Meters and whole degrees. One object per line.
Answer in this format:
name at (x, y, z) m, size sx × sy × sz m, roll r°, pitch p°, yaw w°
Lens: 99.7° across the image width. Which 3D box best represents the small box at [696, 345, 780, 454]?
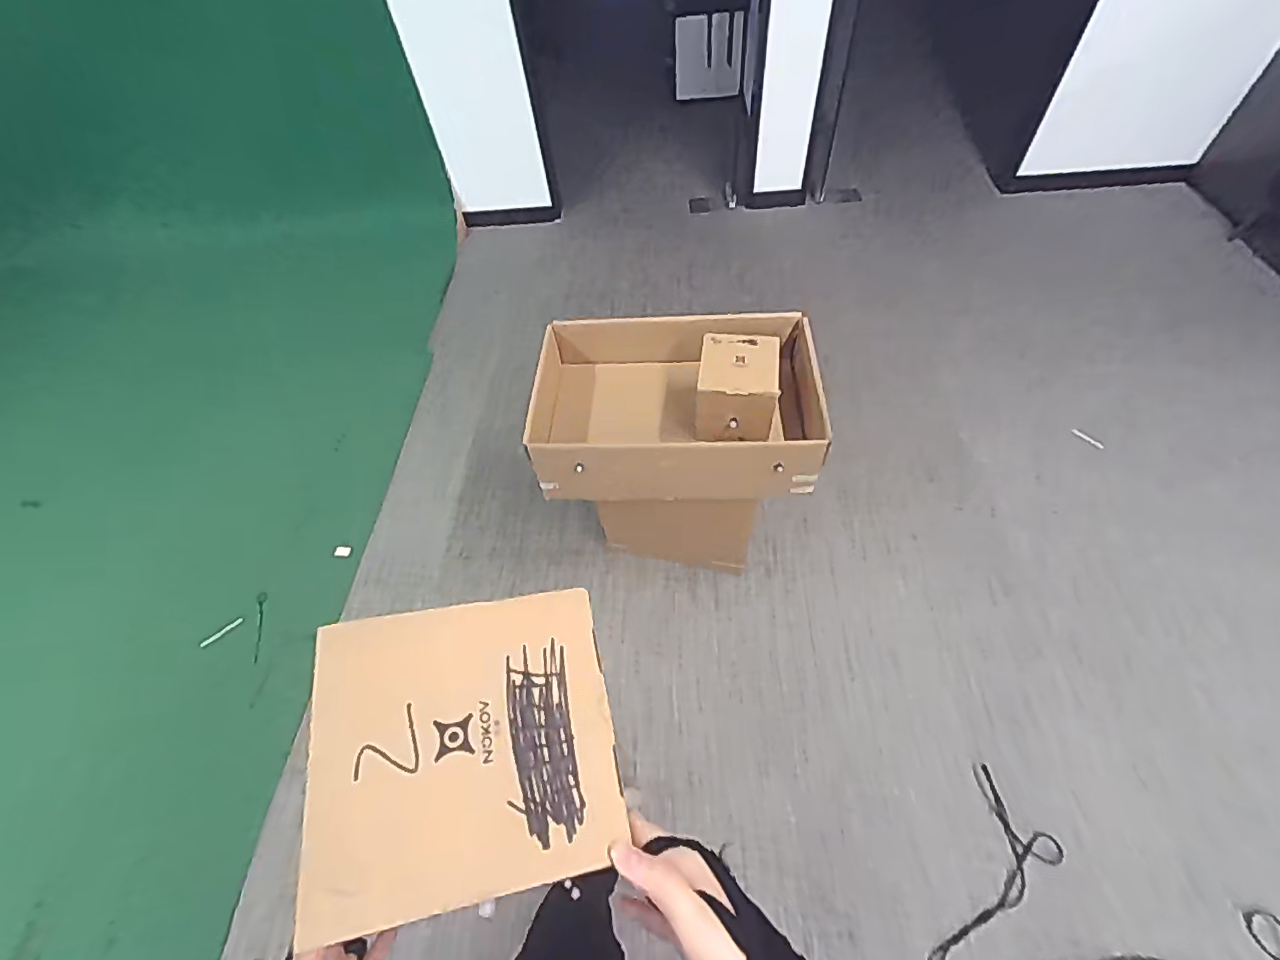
small box at (0.215, -0.177, 1.207) m, size 0.168 × 0.176 × 0.179 m, roll 6°, pitch 56°, yaw 8°
